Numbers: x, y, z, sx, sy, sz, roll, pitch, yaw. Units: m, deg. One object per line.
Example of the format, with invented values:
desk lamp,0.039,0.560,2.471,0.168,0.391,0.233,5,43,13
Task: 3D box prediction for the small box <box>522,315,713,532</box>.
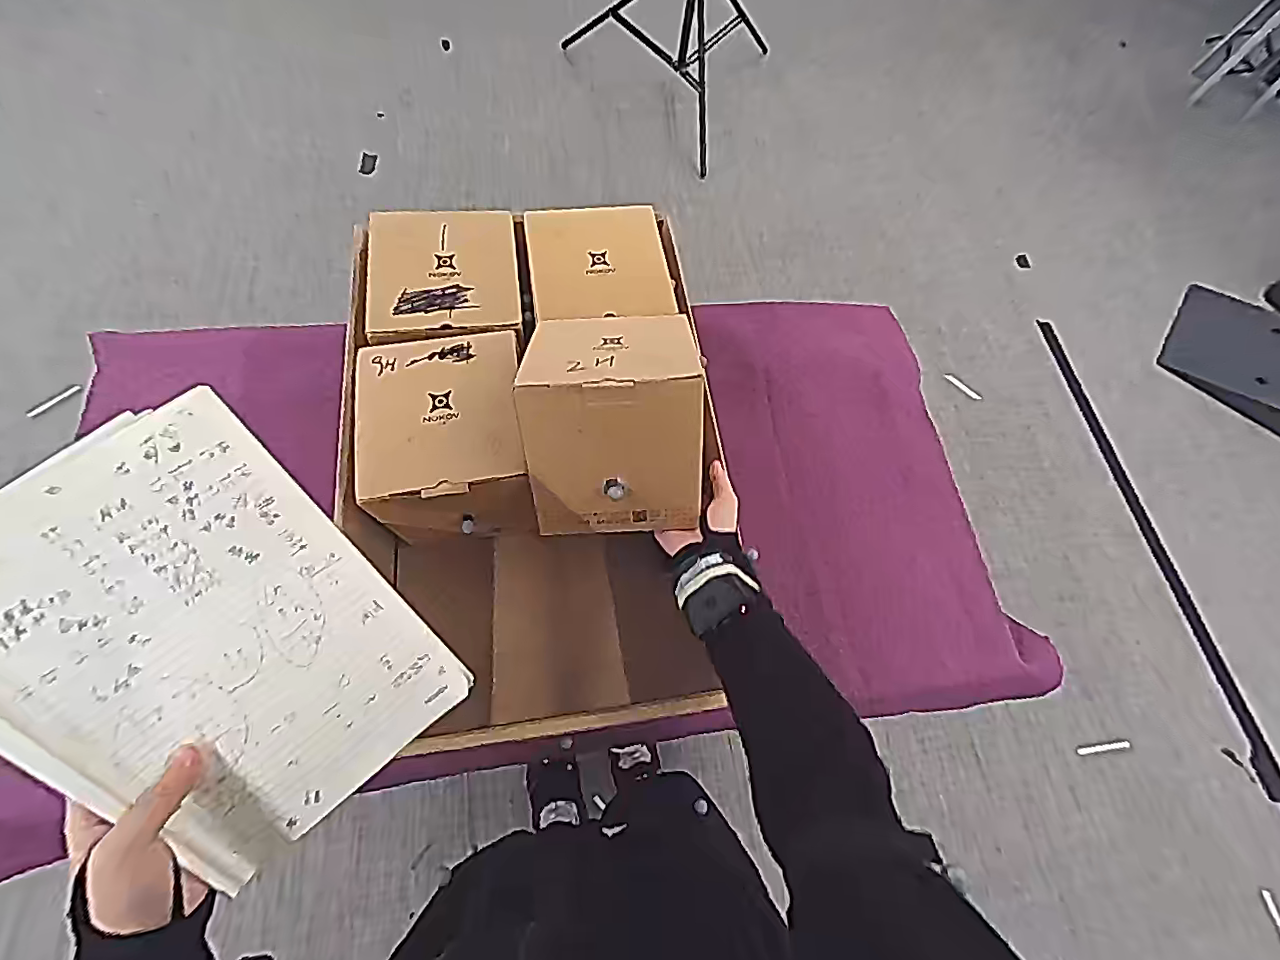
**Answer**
small box,-0.020,-0.064,0.571,0.168,0.176,0.179,-2,36,-1
